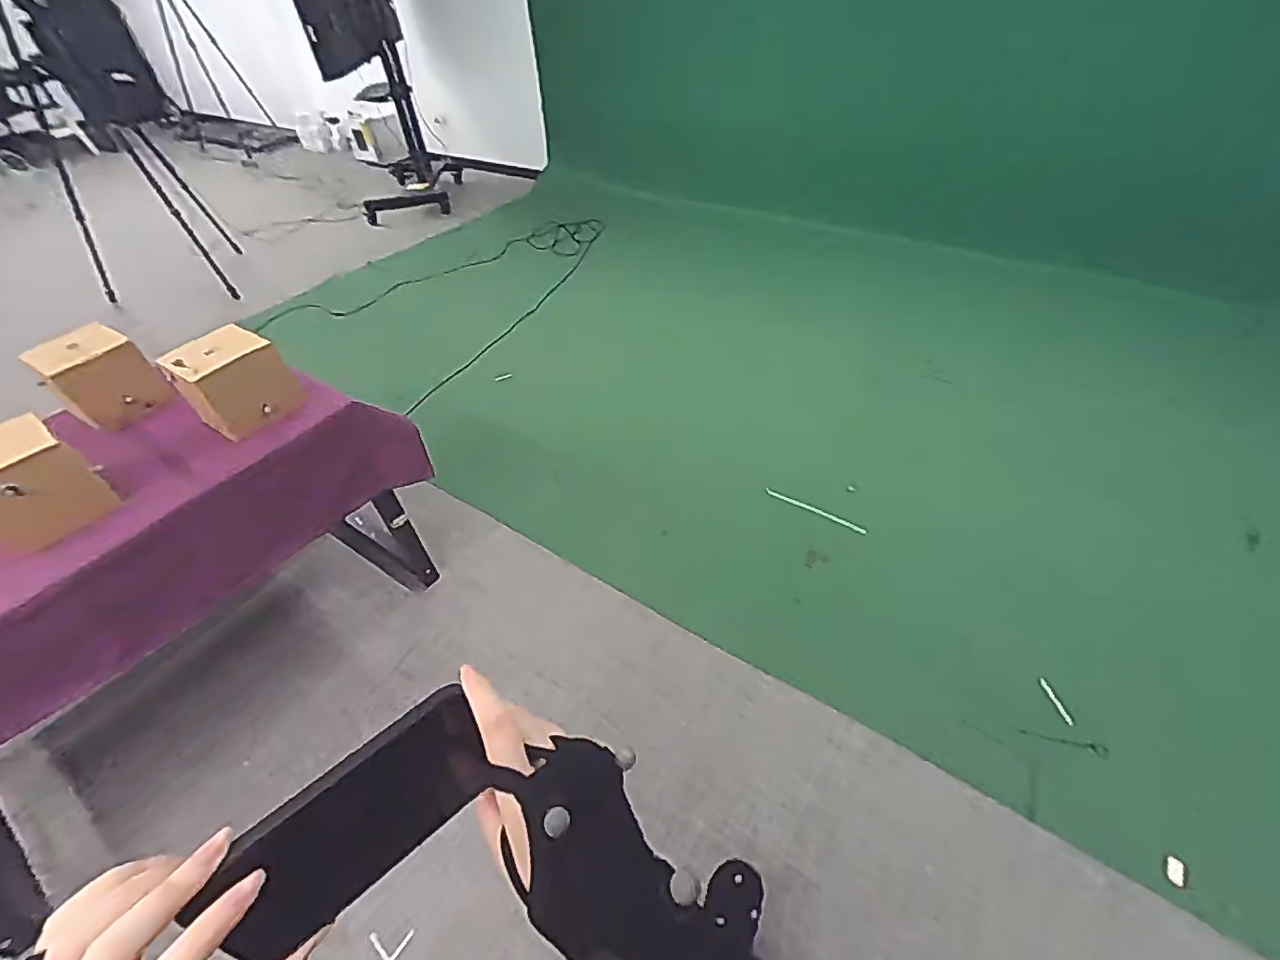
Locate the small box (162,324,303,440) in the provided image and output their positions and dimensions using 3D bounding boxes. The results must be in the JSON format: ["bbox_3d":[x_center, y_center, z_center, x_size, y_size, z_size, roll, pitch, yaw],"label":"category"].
[{"bbox_3d":[-0.905,-0.222,1.224,0.168,0.176,0.179,24,51,25],"label":"small box"}]

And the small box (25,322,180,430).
[{"bbox_3d":[-1.248,-0.242,1.266,0.179,0.176,0.168,23,52,23],"label":"small box"}]

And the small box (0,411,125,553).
[{"bbox_3d":[-1.145,0.005,1.017,0.168,0.176,0.179,28,52,27],"label":"small box"}]
